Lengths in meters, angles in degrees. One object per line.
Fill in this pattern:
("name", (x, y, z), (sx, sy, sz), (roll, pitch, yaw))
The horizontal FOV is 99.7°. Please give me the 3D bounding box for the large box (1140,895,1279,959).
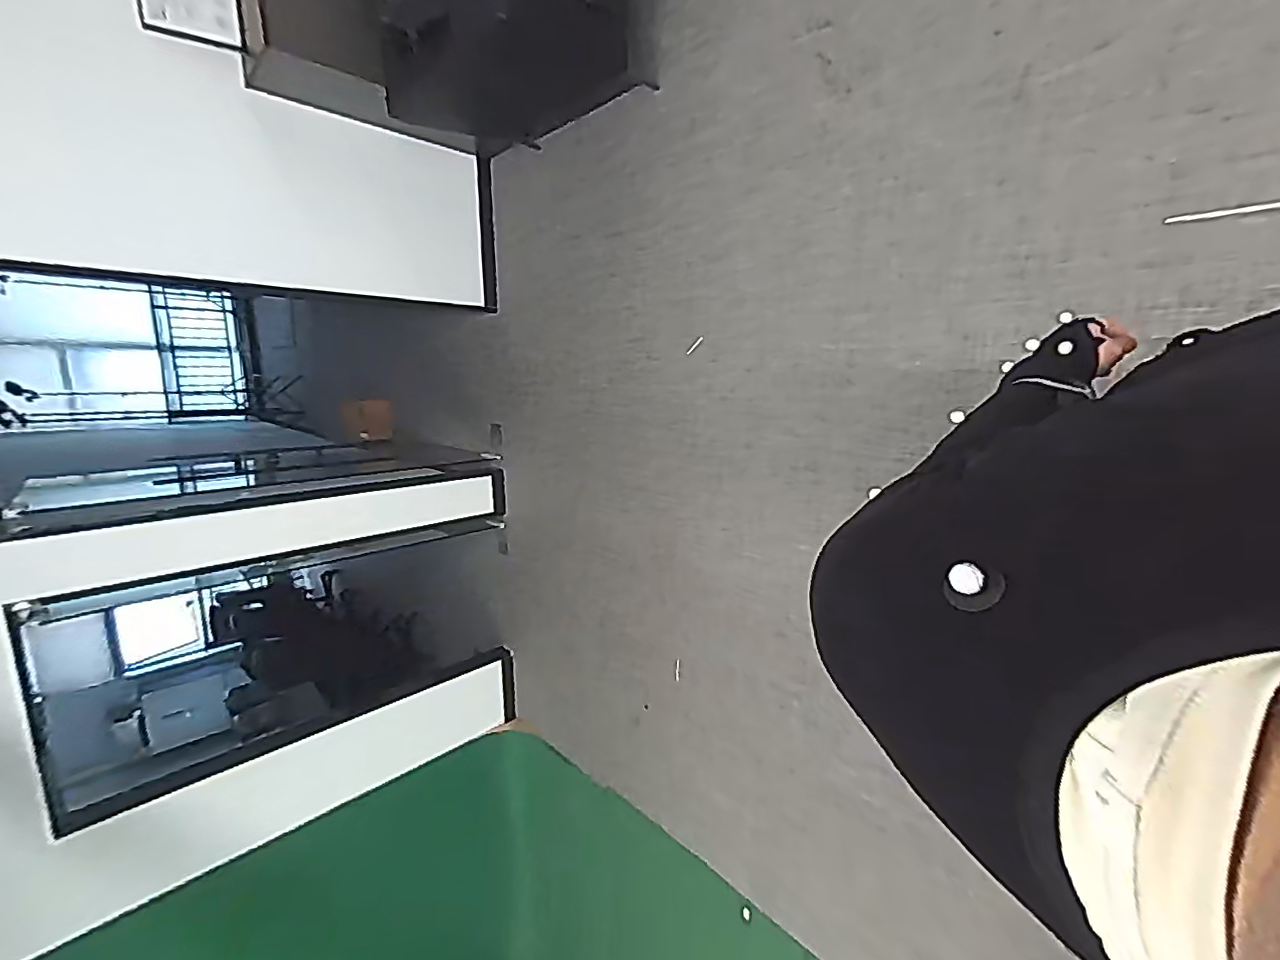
("large box", (1.283, 1.189, 1.098), (0.408, 0.320, 0.320), (9, 103, 46))
